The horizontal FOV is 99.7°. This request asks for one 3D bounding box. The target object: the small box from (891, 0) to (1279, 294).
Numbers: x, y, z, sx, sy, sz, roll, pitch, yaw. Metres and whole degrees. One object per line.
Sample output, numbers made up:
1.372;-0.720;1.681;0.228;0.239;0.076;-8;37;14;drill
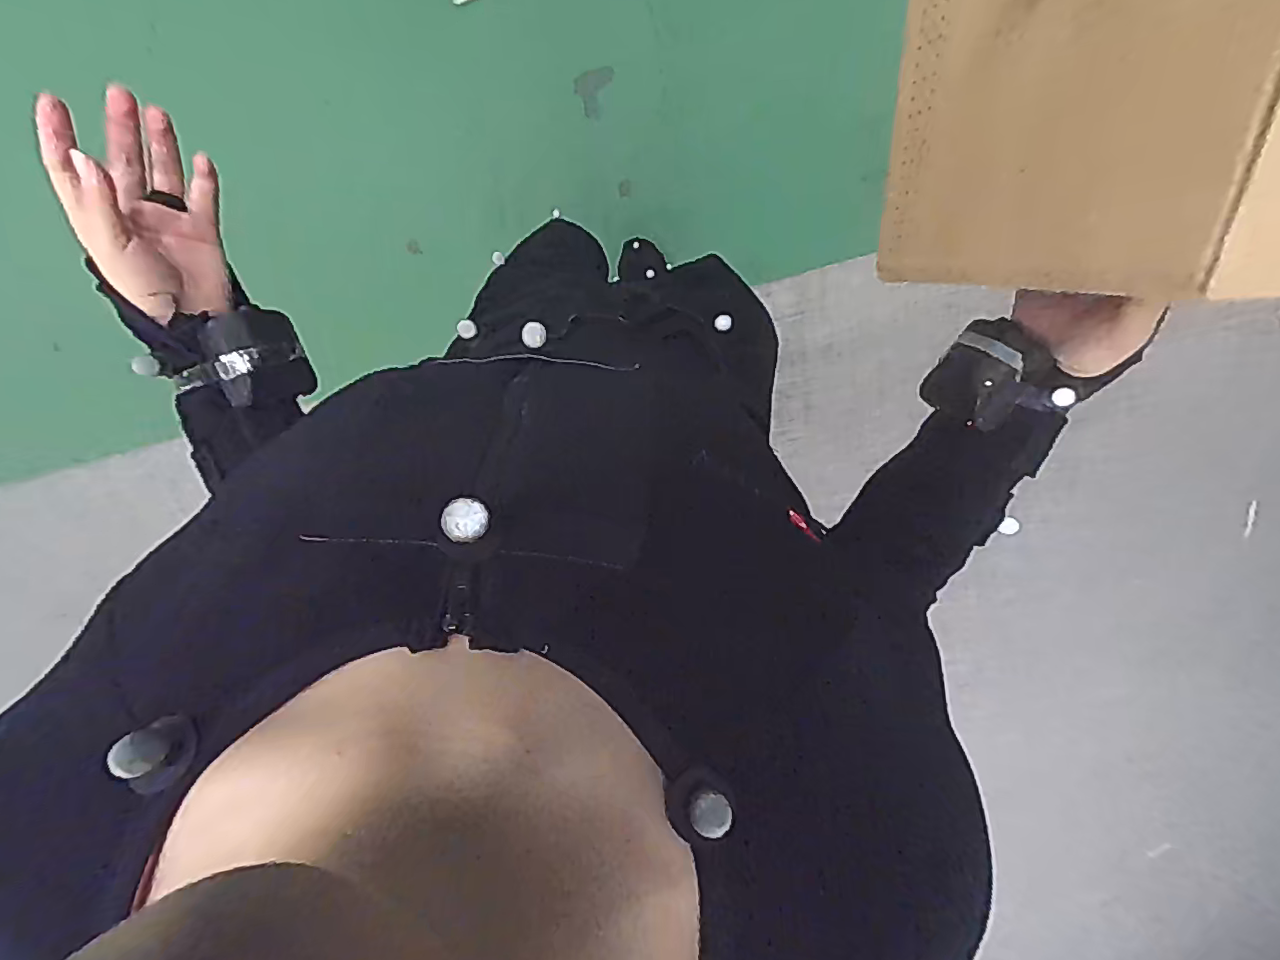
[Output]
0.216;-0.163;0.196;0.168;0.176;0.179;-4;111;-4;small box
